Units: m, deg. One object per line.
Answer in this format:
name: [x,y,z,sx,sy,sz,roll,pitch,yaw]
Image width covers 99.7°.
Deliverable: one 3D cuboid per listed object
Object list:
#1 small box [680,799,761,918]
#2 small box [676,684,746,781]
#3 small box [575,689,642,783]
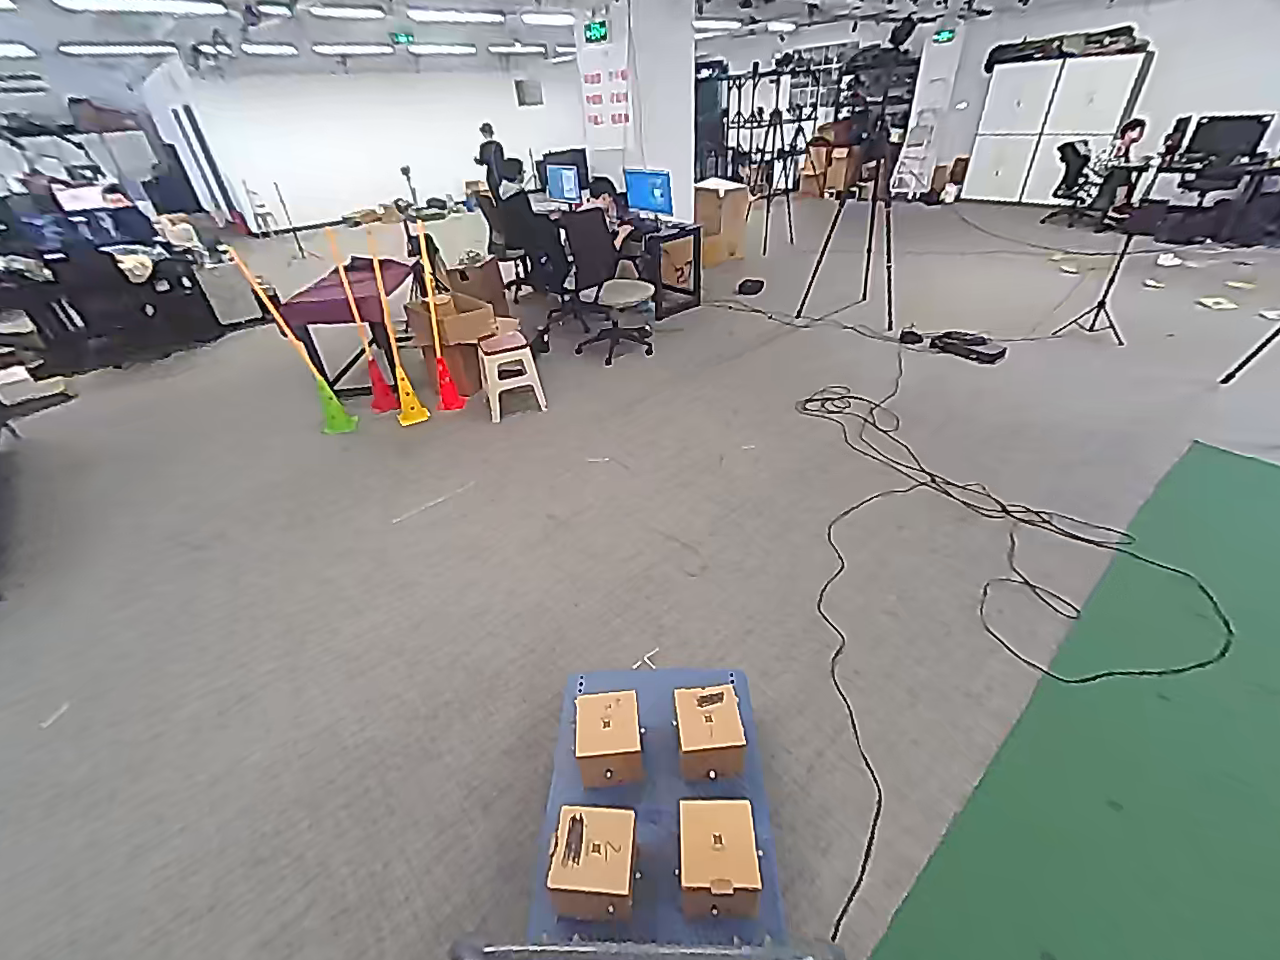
small box: [0.175,0.858,1.230,0.168,0.176,0.179,-1,36,3]
small box: [0.186,0.685,1.470,0.168,0.176,0.179,-5,36,-1]
small box: [-0.083,0.701,1.471,0.168,0.176,0.179,-4,35,-2]
